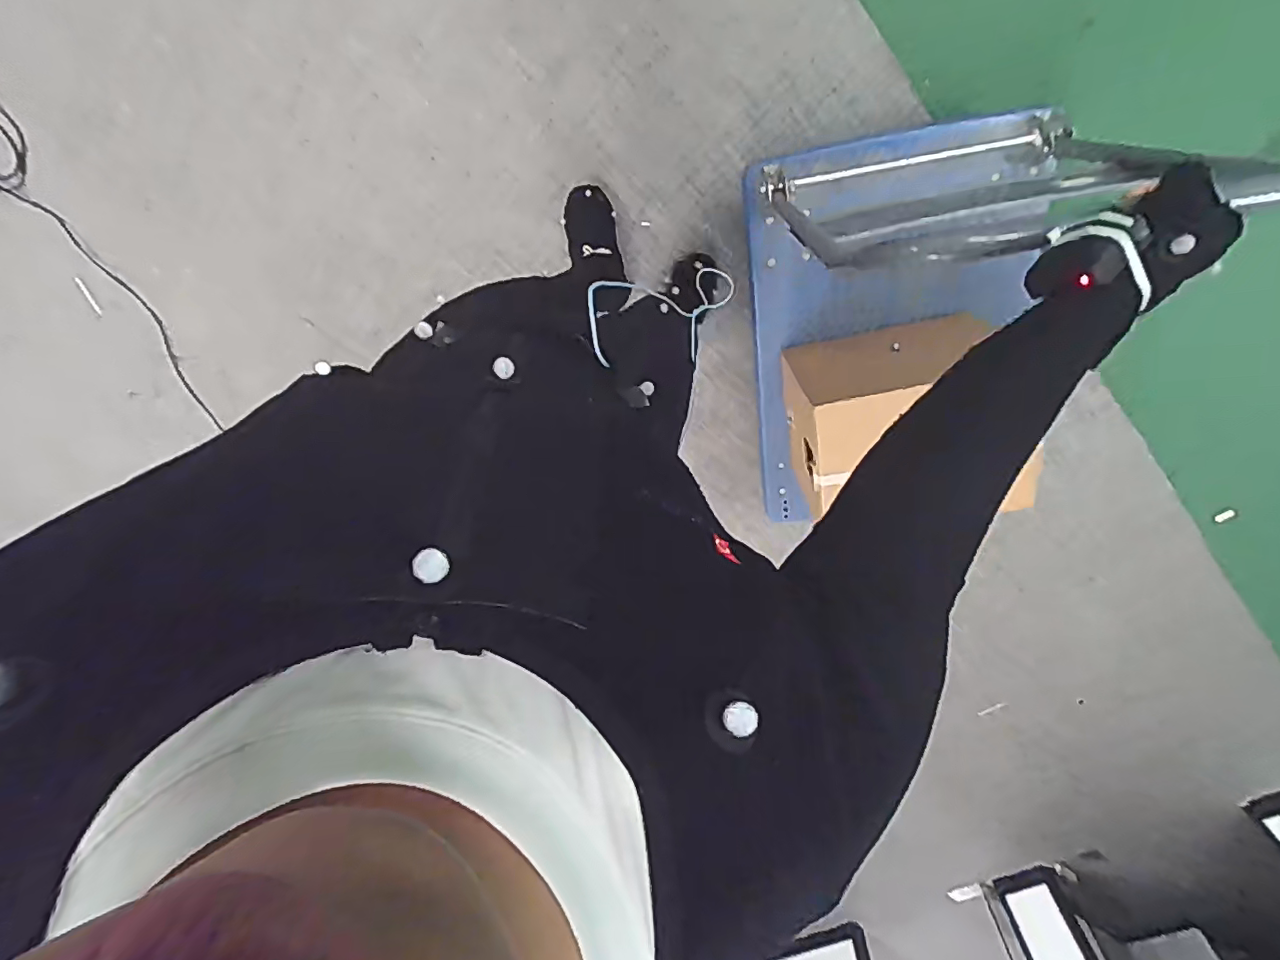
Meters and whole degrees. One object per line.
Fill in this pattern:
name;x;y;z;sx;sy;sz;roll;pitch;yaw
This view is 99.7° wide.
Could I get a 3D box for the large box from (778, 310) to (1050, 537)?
large box;0.534;-0.125;1.134;0.408;0.320;0.320;-11;122;8
